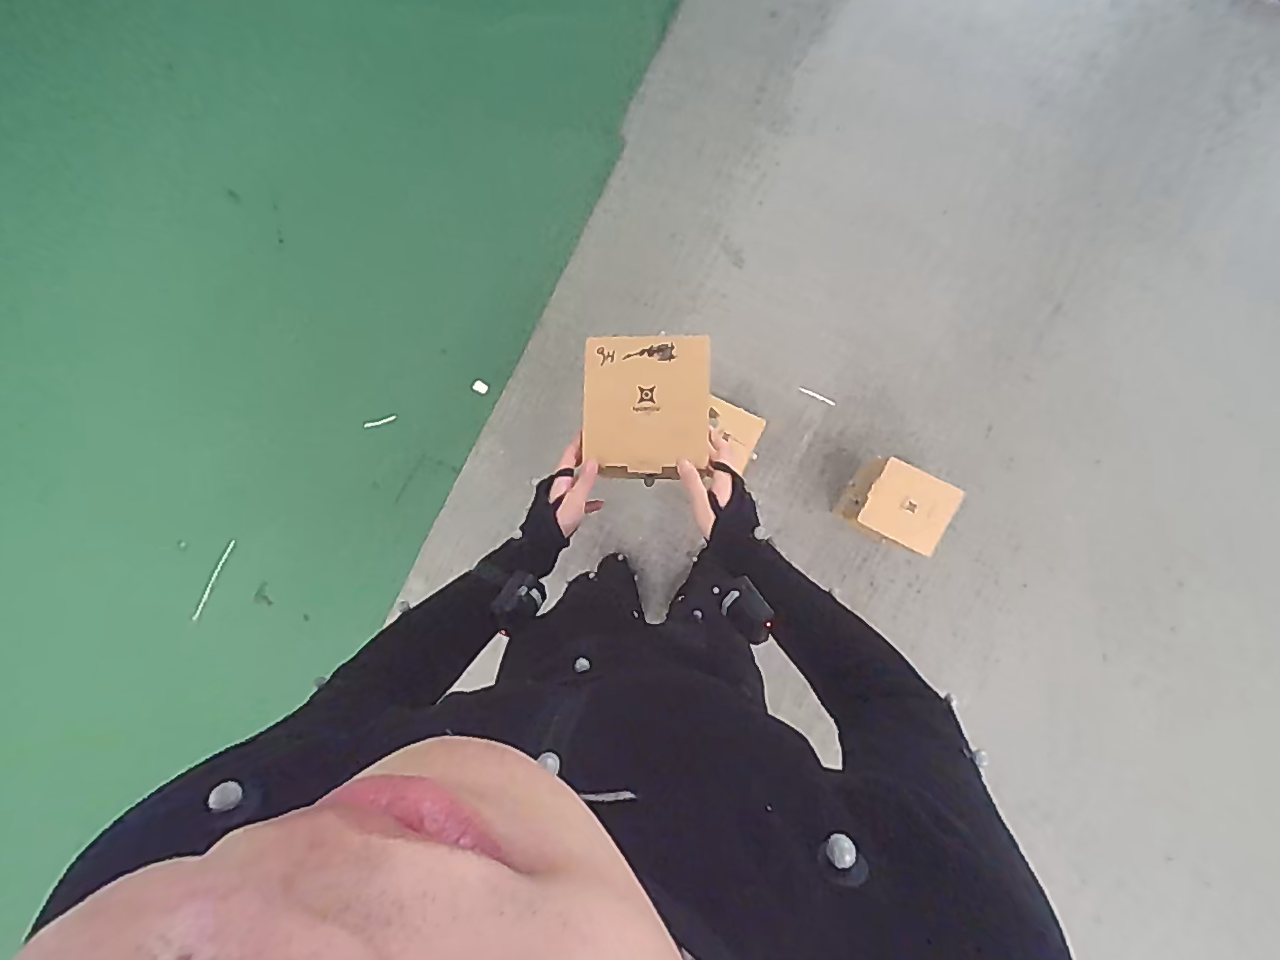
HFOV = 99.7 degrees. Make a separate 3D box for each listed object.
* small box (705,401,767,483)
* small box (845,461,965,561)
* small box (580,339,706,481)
[{"bbox_3d":[0.236,-0.098,1.510,0.179,0.176,0.168,26,91,10],"label":"small box"},{"bbox_3d":[0.607,0.073,1.266,0.179,0.176,0.168,28,92,10],"label":"small box"},{"bbox_3d":[0.011,-0.089,0.775,0.168,0.176,0.179,-1,85,5],"label":"small box"}]
